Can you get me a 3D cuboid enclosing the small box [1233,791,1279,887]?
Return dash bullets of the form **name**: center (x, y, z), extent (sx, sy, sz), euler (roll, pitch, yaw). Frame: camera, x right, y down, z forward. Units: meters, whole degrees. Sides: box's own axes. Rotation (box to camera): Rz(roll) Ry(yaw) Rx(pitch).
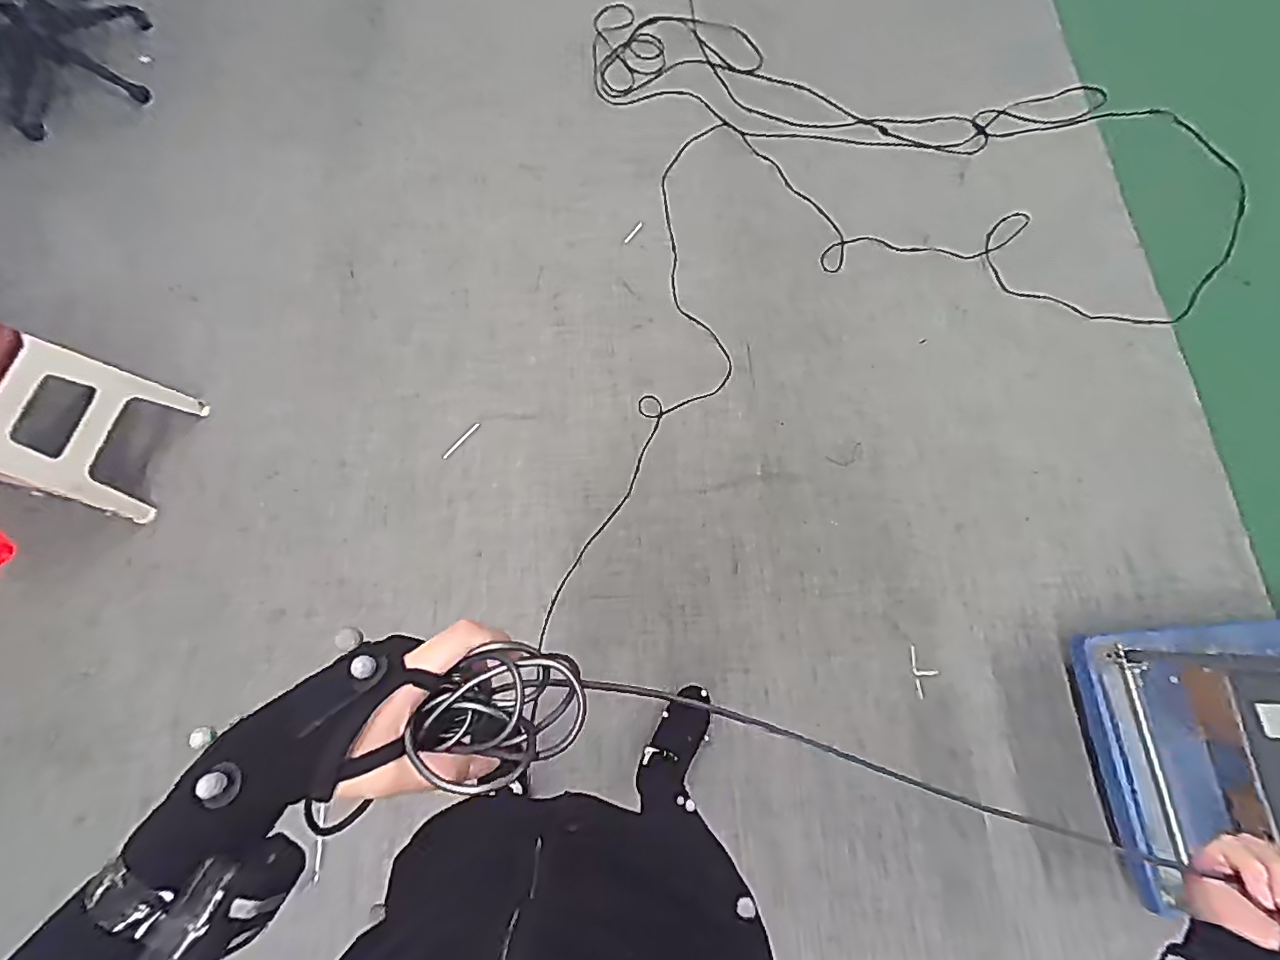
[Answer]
- **small box**: center (1.366, 0.730, 1.072), extent (0.179, 0.176, 0.168), euler (-3, 74, 1)
